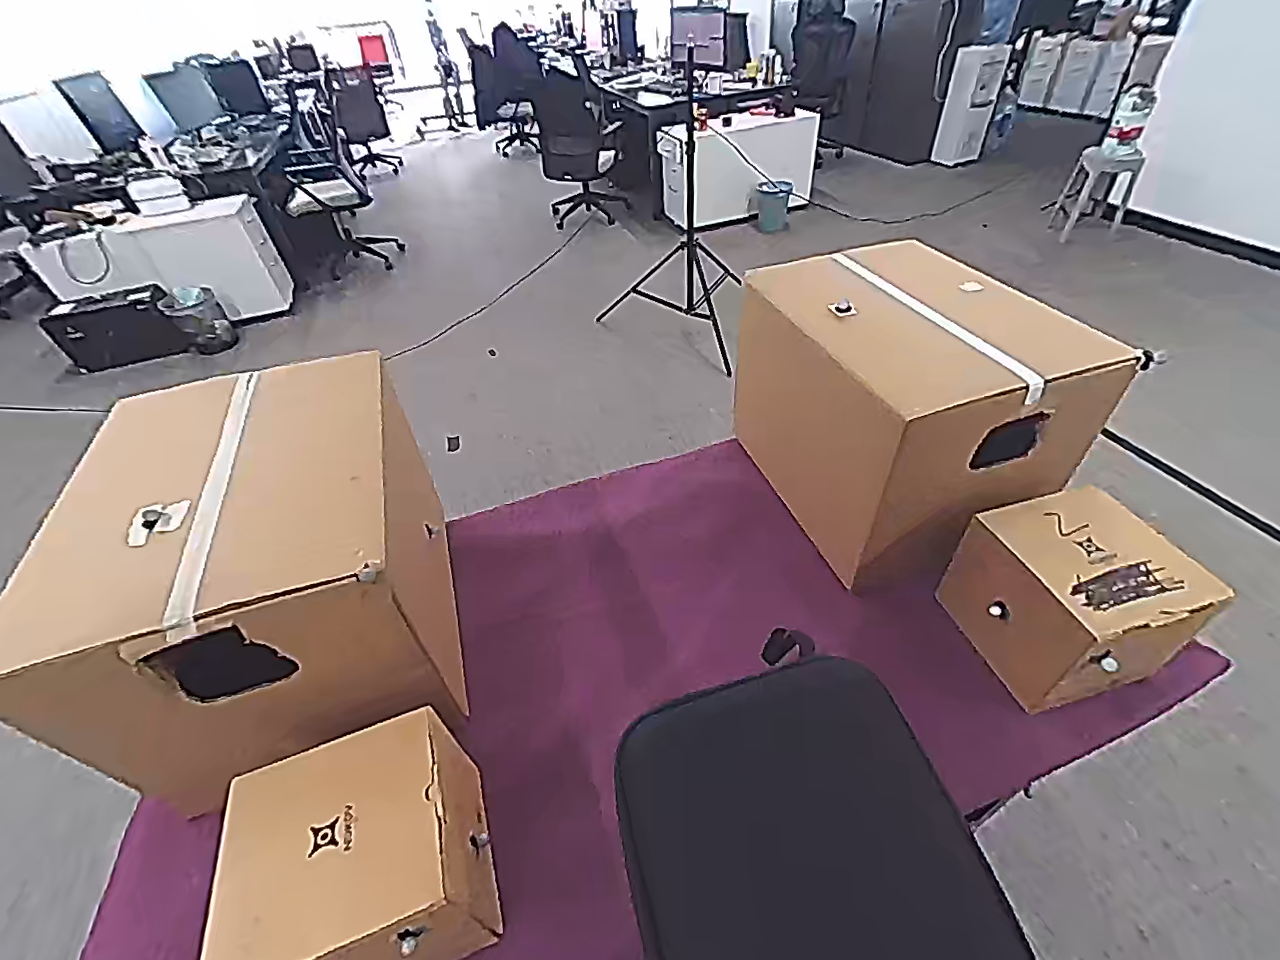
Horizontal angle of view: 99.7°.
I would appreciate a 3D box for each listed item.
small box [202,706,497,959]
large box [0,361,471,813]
[{"bbox_3d":[-0.249,0.352,0.500,0.179,0.176,0.168,-17,43,-14],"label":"small box"},{"bbox_3d":[-0.425,0.108,0.677,0.320,0.320,0.408,-16,46,-13],"label":"large box"}]
